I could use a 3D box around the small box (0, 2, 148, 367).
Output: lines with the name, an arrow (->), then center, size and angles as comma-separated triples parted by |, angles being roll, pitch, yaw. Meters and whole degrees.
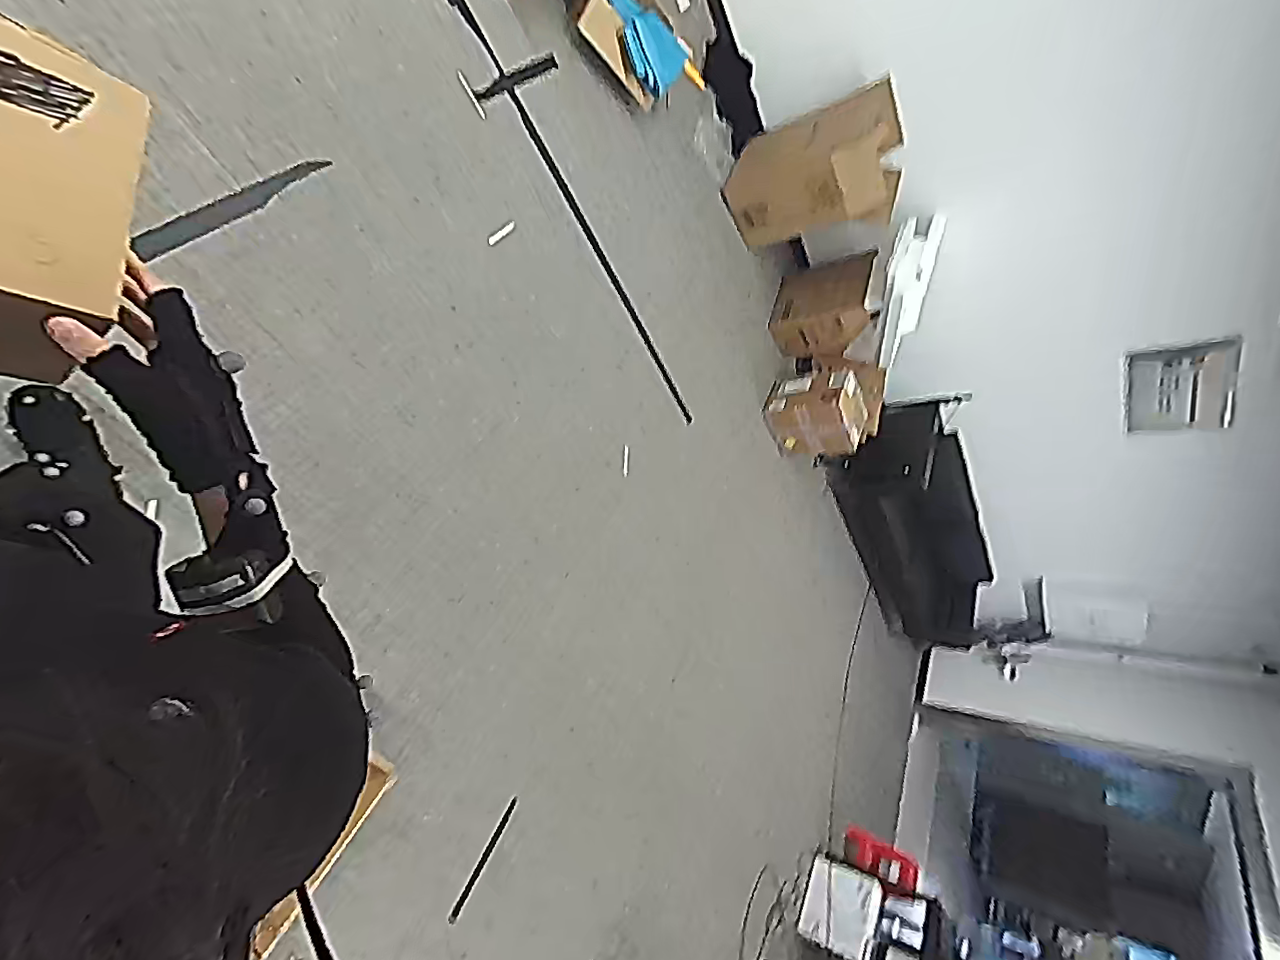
small box -> -0.454, -0.194, 0.343 | 0.168, 0.176, 0.179 | 11, 72, -55
